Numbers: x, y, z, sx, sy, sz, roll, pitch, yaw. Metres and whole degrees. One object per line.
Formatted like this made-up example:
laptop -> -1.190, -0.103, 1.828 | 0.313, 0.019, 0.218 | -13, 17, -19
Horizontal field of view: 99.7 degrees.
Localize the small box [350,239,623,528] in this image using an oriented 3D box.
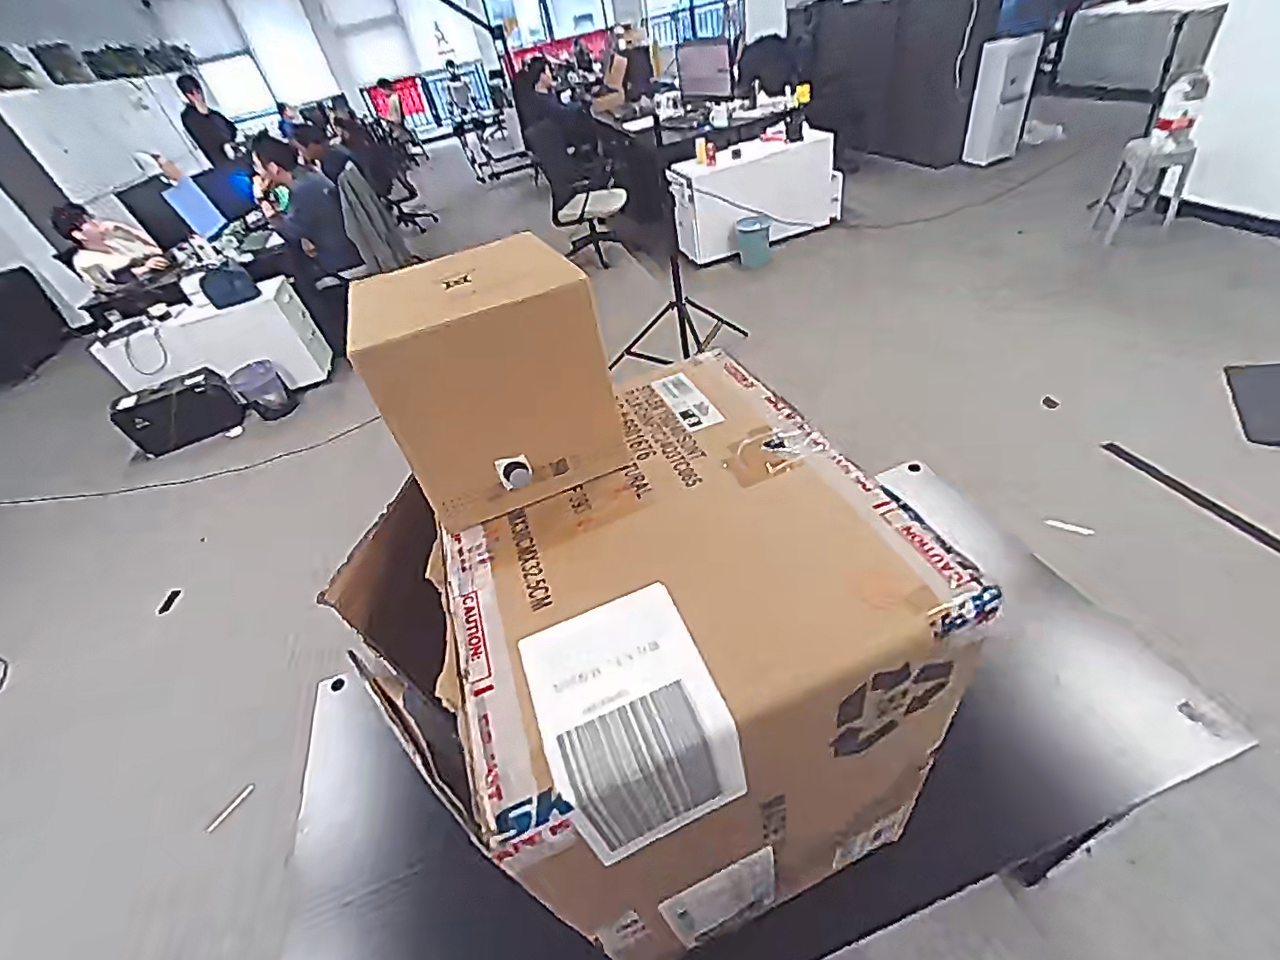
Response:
small box -> -0.130, -0.089, 0.476 | 0.168, 0.176, 0.179 | -23, 40, -12
